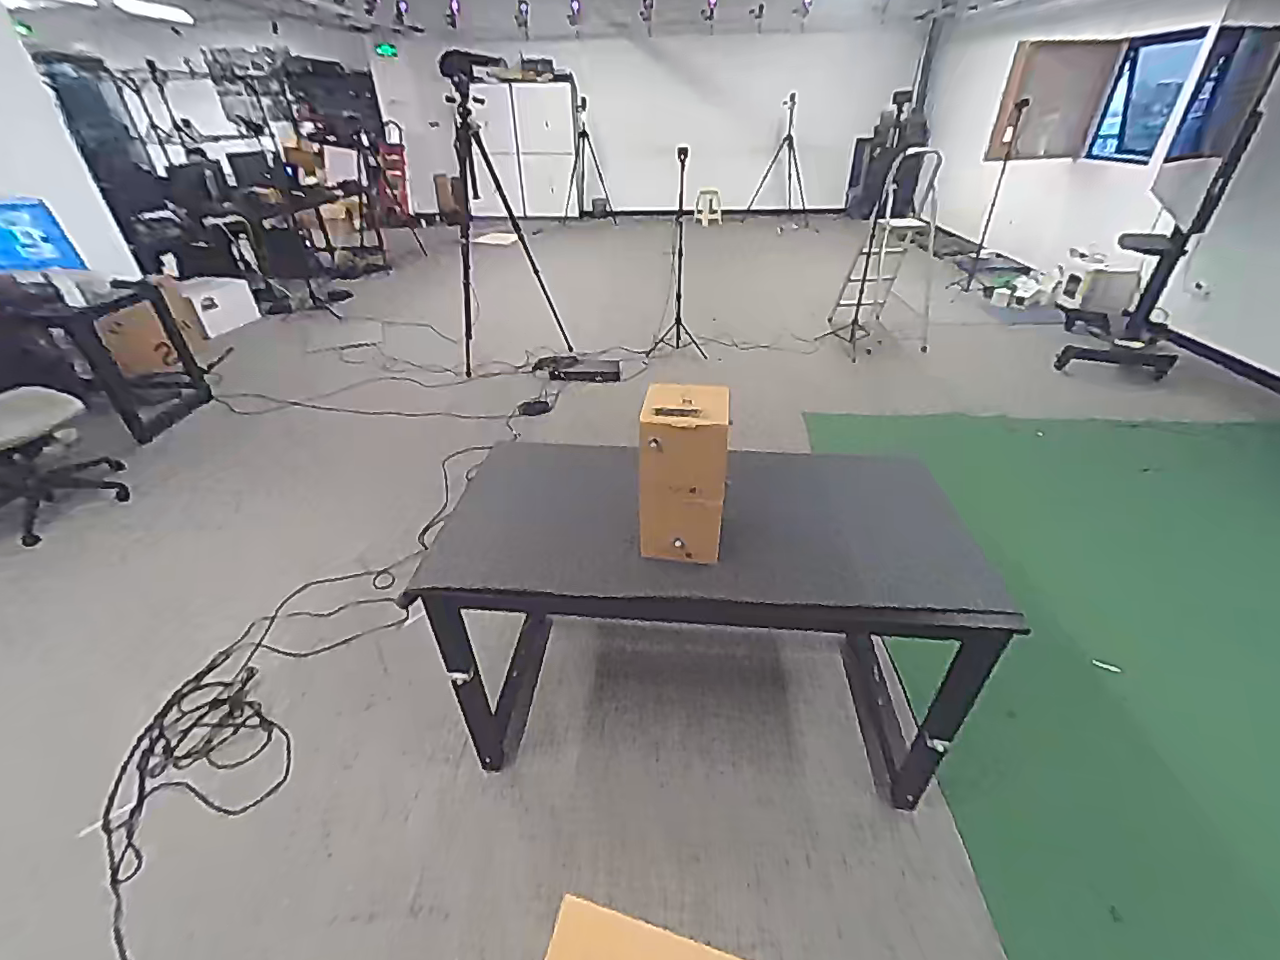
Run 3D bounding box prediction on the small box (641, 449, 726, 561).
[{"bbox_3d":[0.097,0.052,1.181,0.168,0.176,0.179,4,34,9],"label":"small box"}]
